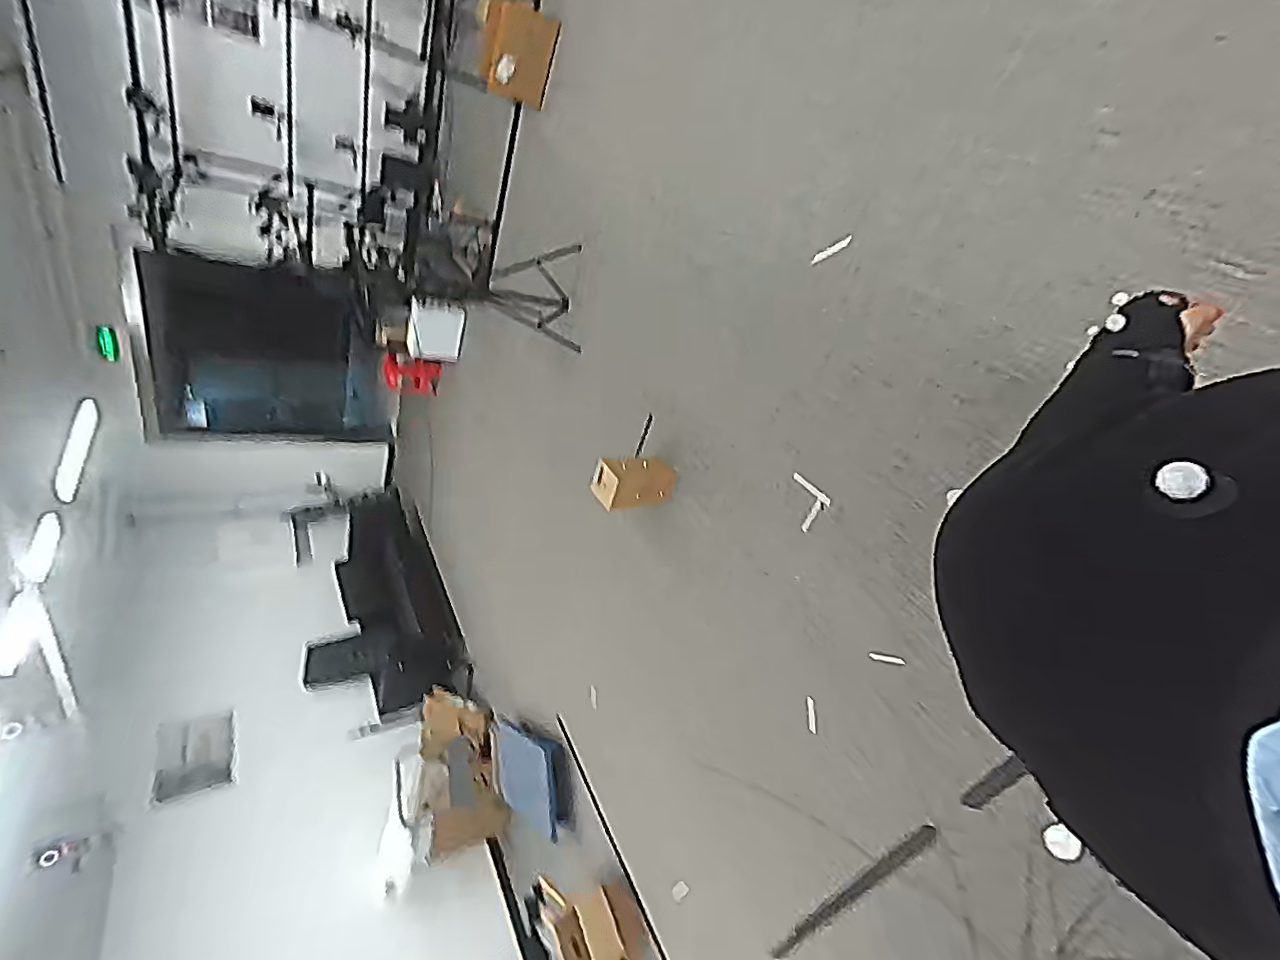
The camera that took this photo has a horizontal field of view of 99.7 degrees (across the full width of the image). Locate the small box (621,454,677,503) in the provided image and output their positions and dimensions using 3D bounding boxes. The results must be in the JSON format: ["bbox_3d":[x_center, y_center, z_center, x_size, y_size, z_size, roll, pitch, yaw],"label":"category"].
[{"bbox_3d":[0.044,-0.009,2.503,0.179,0.176,0.168,45,127,43],"label":"small box"}]
